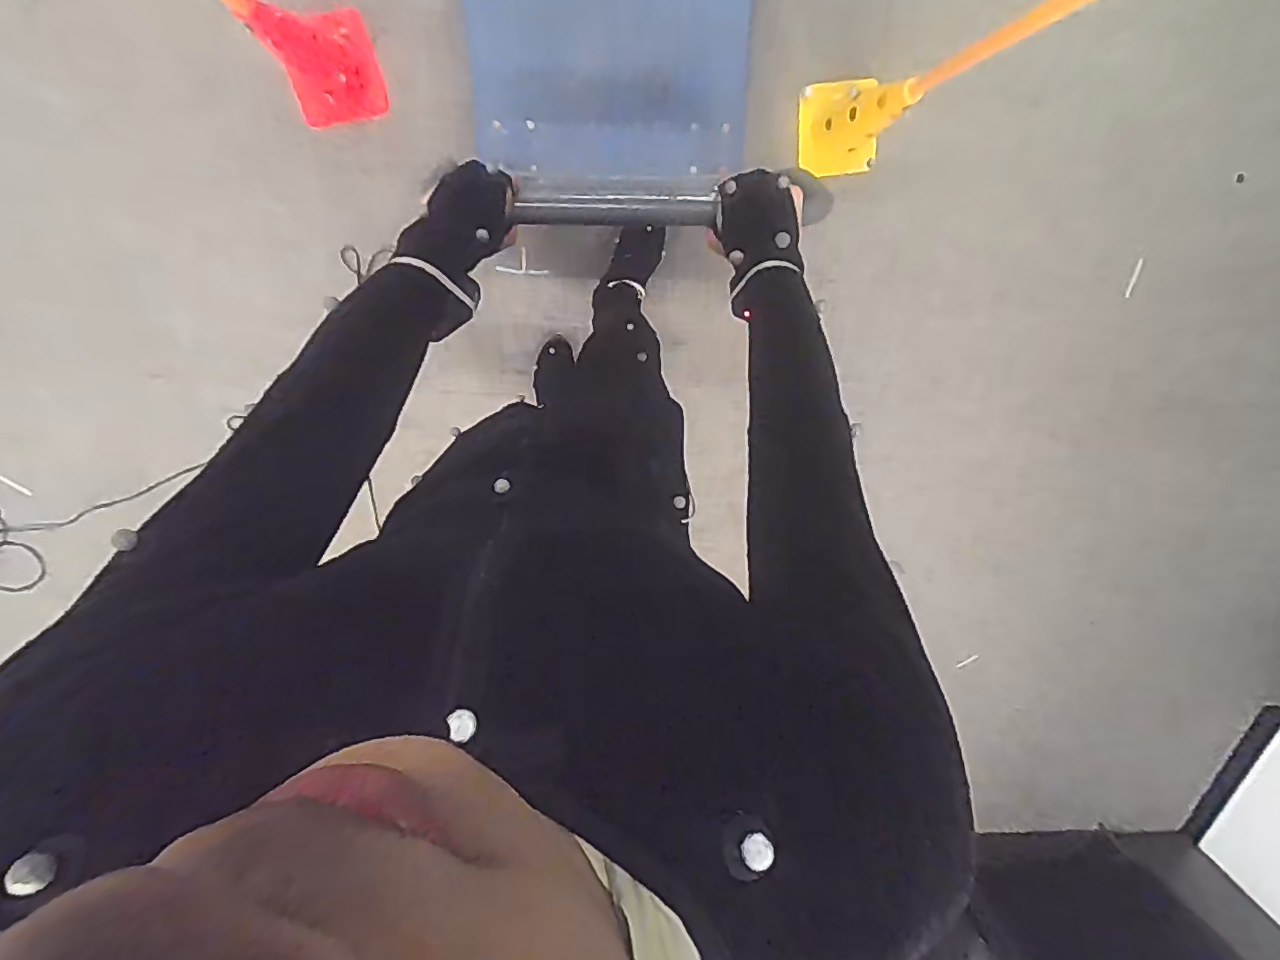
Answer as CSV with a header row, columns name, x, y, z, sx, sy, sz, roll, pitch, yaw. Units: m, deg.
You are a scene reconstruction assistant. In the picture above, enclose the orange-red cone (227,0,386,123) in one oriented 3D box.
name,x,y,z,sx,sy,sz,roll,pitch,yaw
orange-red cone,-0.669,-0.849,1.040,0.199,0.360,0.198,-10,113,0
